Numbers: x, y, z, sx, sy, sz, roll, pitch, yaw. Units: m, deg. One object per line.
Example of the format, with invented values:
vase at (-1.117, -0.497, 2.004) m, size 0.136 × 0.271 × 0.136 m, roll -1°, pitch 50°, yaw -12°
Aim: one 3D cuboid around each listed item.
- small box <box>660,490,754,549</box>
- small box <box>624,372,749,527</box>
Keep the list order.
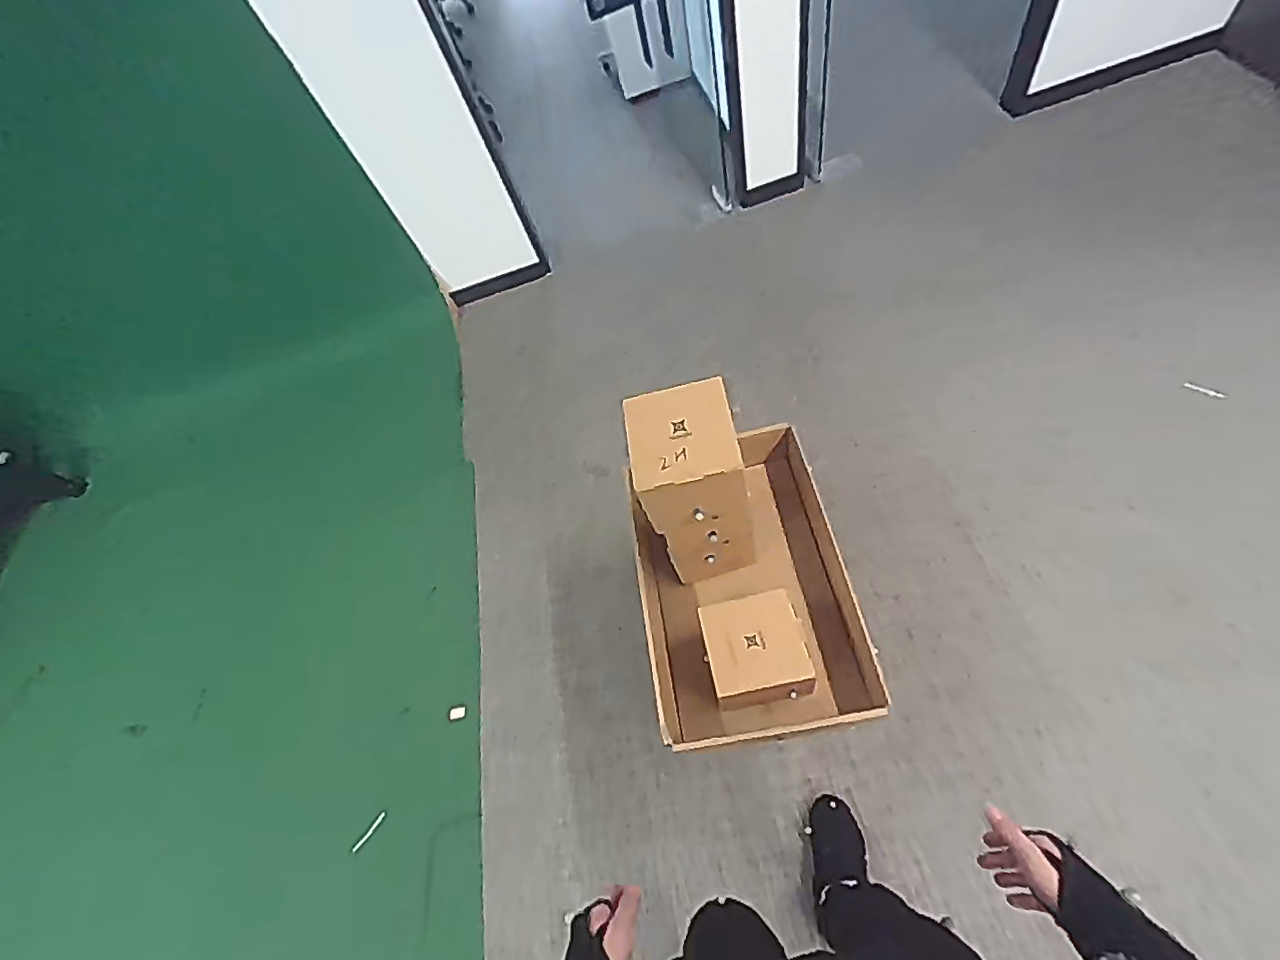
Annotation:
small box at (0.113, 0.019, 1.038) m, size 0.168 × 0.176 × 0.179 m, roll -18°, pitch 60°, yaw 5°
small box at (0.079, -0.044, 0.888) m, size 0.168 × 0.176 × 0.179 m, roll -13°, pitch 61°, yaw 10°
